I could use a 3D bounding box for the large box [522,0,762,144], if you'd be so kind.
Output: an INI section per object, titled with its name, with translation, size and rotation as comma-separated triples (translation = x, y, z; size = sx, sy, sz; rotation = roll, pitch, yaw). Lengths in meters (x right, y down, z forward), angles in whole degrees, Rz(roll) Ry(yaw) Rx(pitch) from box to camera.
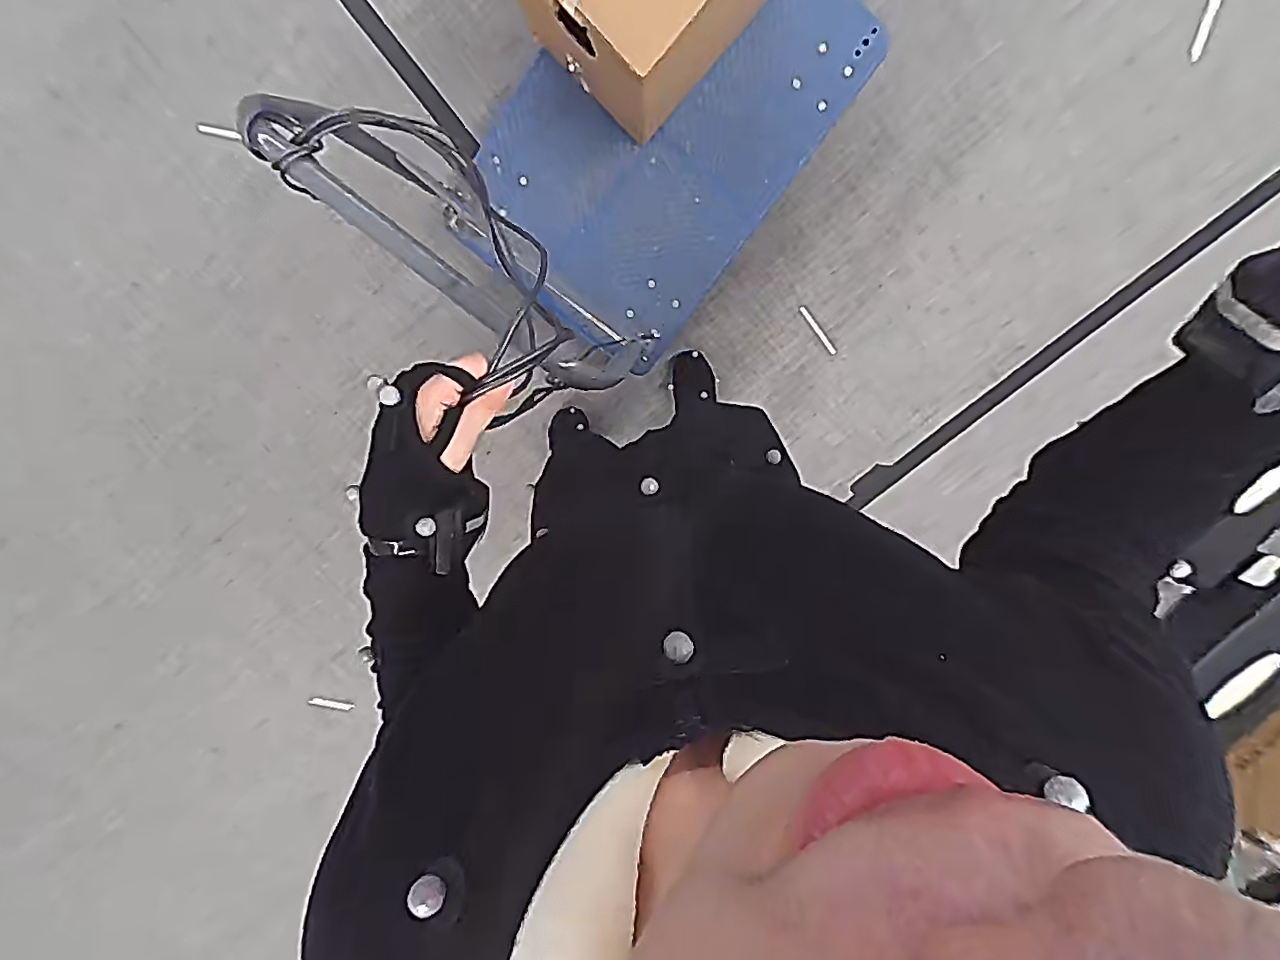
[large box]
translation = 0.026, -0.915, 0.950
size = 0.320, 0.320, 0.408
rotation = 42, 100, -9
